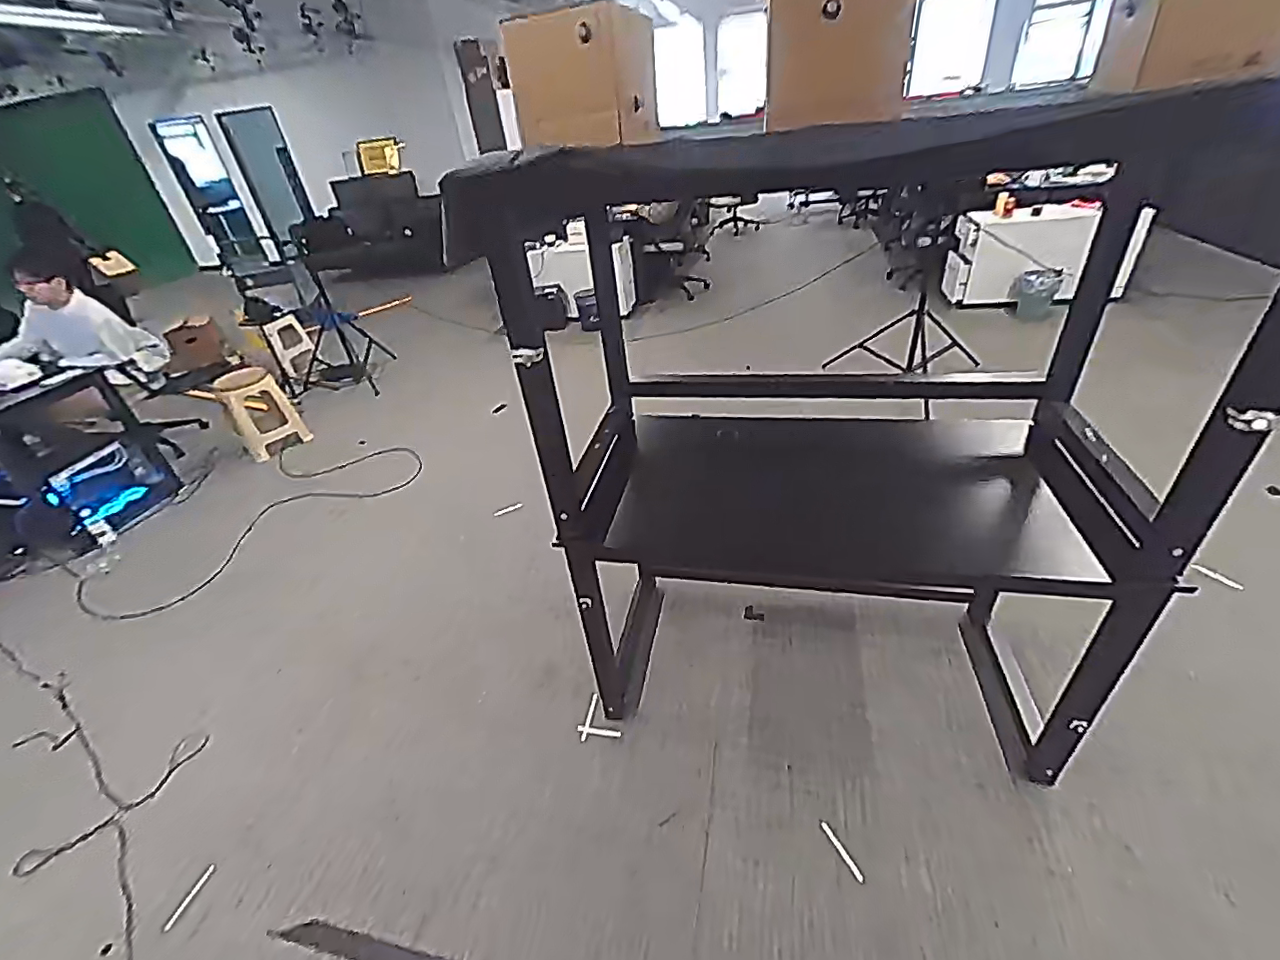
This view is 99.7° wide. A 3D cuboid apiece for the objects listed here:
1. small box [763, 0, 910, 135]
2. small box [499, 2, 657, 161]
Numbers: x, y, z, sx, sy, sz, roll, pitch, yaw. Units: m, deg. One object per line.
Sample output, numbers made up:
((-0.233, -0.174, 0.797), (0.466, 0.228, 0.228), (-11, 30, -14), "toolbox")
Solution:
((0.261, -0.586, 0.750), (0.179, 0.176, 0.168), (1, 34, 11), "small box")
((-0.084, -0.597, 0.833), (0.179, 0.176, 0.168), (8, 34, 21), "small box")
